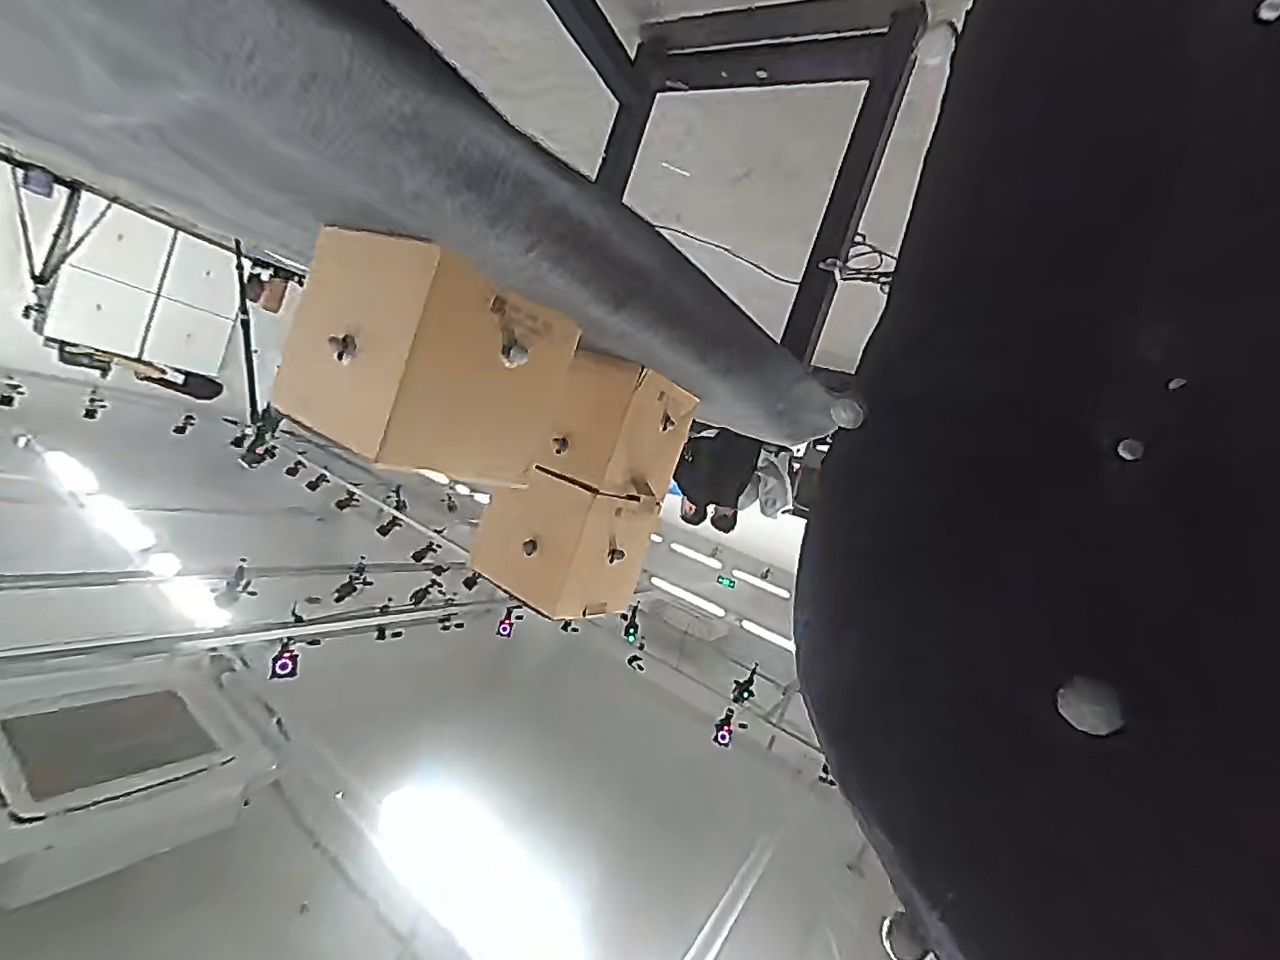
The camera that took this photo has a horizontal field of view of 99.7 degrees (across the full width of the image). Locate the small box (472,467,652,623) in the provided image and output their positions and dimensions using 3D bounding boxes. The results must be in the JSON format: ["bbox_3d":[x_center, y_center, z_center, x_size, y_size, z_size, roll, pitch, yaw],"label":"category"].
[{"bbox_3d":[-0.100,0.081,0.760,0.179,0.176,0.168,19,-177,34],"label":"small box"}]

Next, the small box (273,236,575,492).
[{"bbox_3d":[-0.188,-0.102,0.495,0.179,0.176,0.168,21,-176,31],"label":"small box"}]

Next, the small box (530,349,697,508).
[{"bbox_3d":[-0.047,-0.074,0.757,0.179,0.176,0.168,20,-177,32],"label":"small box"}]
